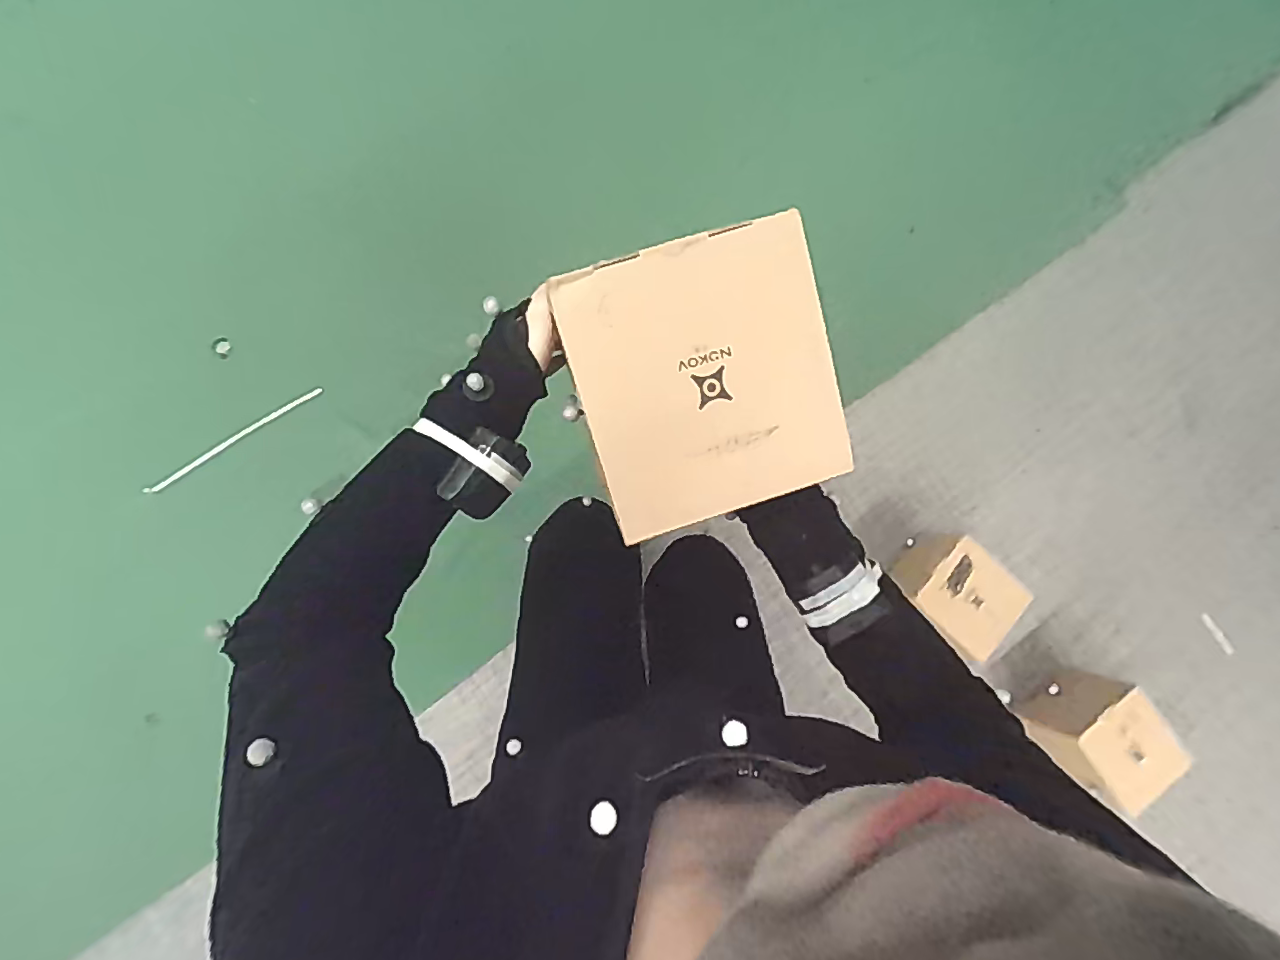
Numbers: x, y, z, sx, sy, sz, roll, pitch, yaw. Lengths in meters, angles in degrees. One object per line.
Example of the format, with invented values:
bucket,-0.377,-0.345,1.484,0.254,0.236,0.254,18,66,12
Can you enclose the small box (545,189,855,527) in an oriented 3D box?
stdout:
small box,0.032,-0.086,0.416,0.168,0.176,0.179,-18,102,-4

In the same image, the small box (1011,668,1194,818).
small box,0.889,0.498,1.056,0.168,0.176,0.179,-34,87,-8

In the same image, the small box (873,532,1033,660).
small box,0.603,0.222,1.066,0.179,0.176,0.168,43,82,1
